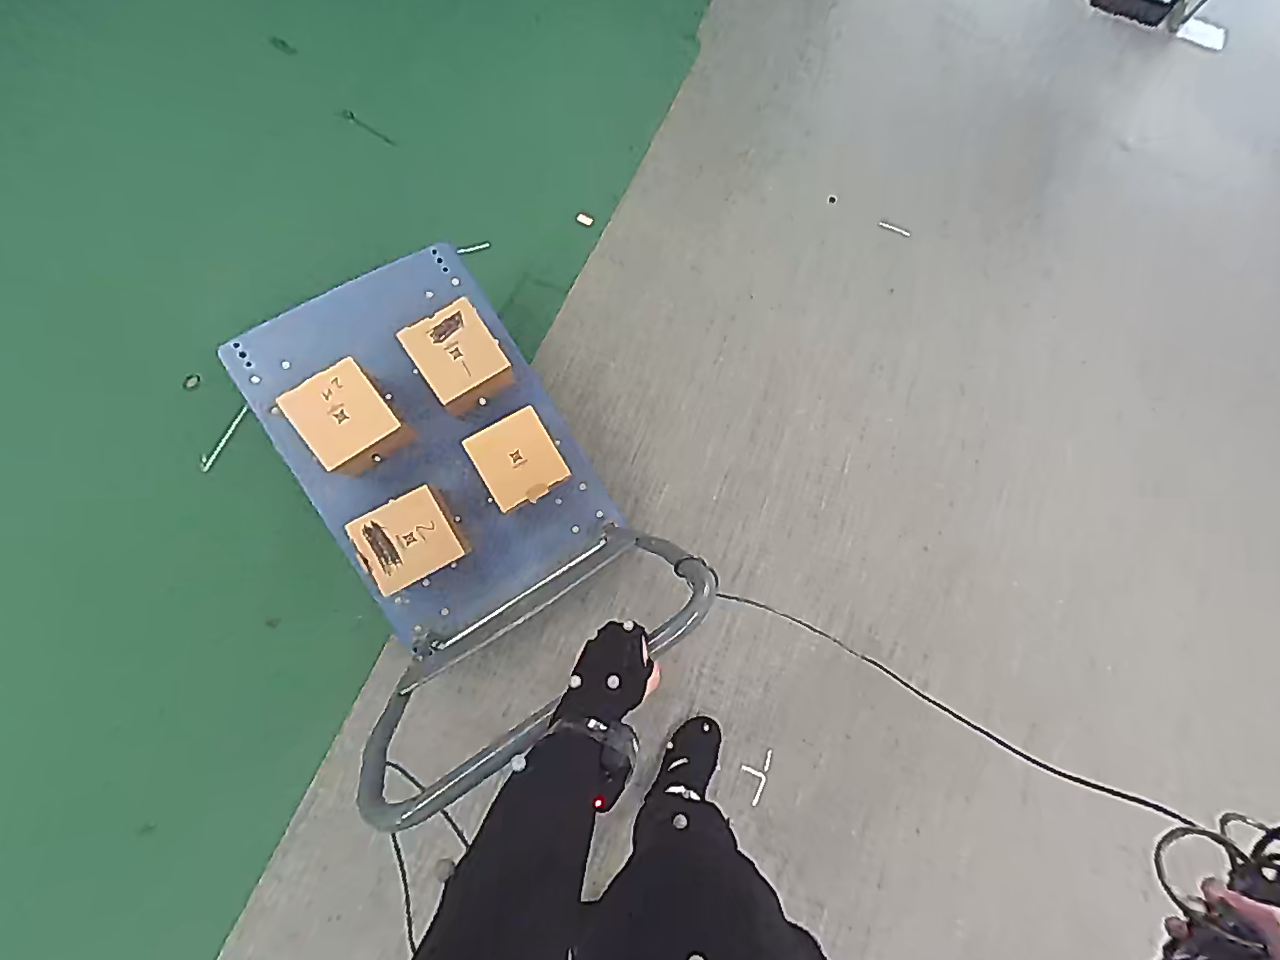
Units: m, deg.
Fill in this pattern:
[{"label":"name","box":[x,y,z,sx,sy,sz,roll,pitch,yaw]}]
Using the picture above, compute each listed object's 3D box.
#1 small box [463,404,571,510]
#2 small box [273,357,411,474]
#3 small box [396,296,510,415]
[{"label":"small box","box":[-0.274,-0.042,1.208,0.168,0.176,0.179,-31,94,-12]},{"label":"small box","box":[-0.611,-0.126,1.140,0.168,0.176,0.179,-36,94,-13]},{"label":"small box","box":[-0.403,-0.266,1.194,0.168,0.176,0.179,-34,94,-12]}]
